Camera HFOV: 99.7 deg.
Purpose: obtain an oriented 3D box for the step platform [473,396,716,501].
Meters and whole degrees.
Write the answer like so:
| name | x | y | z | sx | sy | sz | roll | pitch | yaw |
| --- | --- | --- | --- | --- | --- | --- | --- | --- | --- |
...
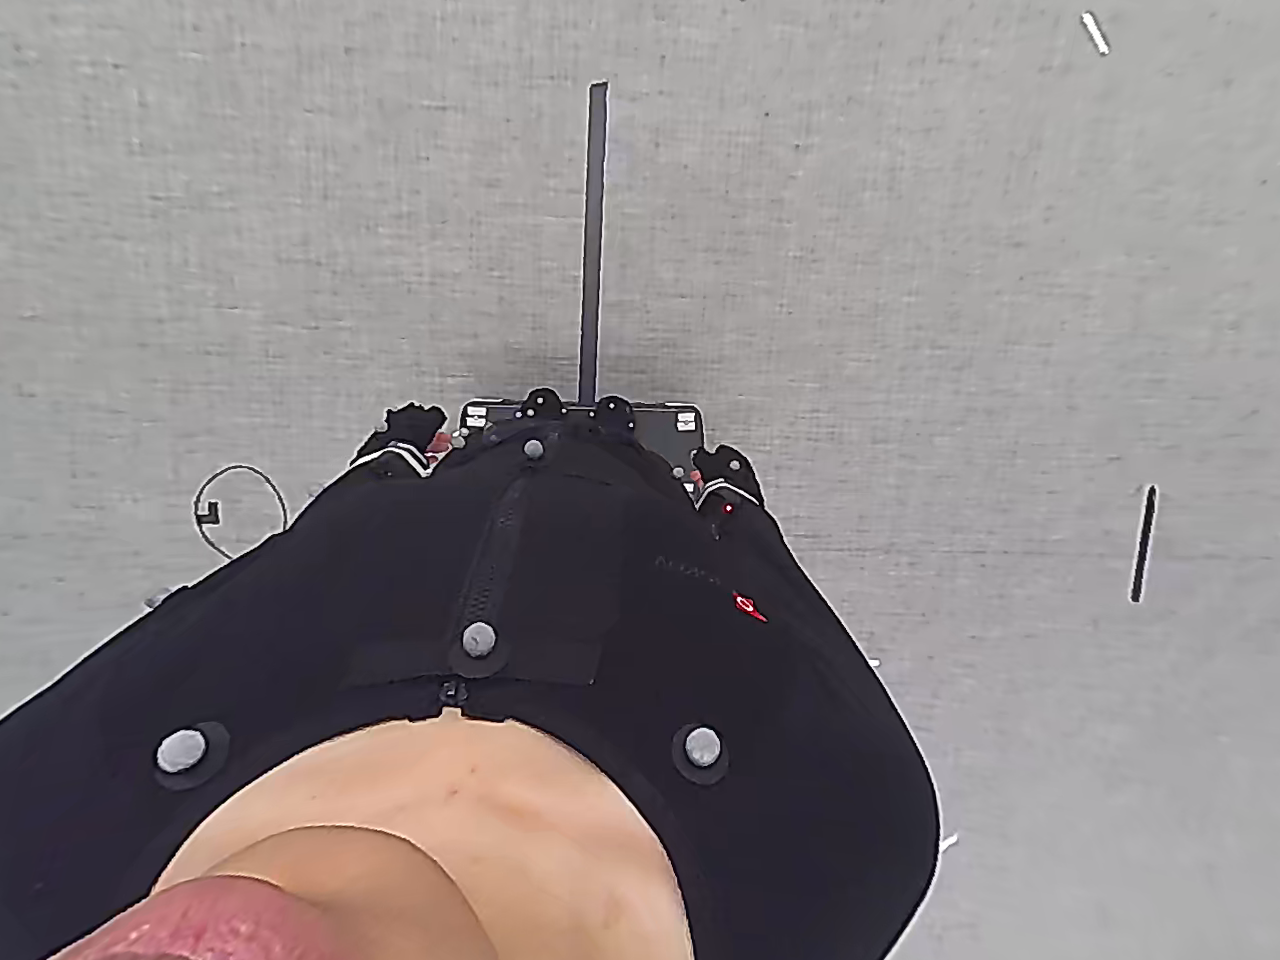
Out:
| name | x | y | z | sx | sy | sz | roll | pitch | yaw |
| --- | --- | --- | --- | --- | --- | --- | --- | --- | --- |
| step platform | -0.125 | -0.094 | 1.558 | 0.684 | 0.204 | 0.286 | 0 | 99 | -3 |
